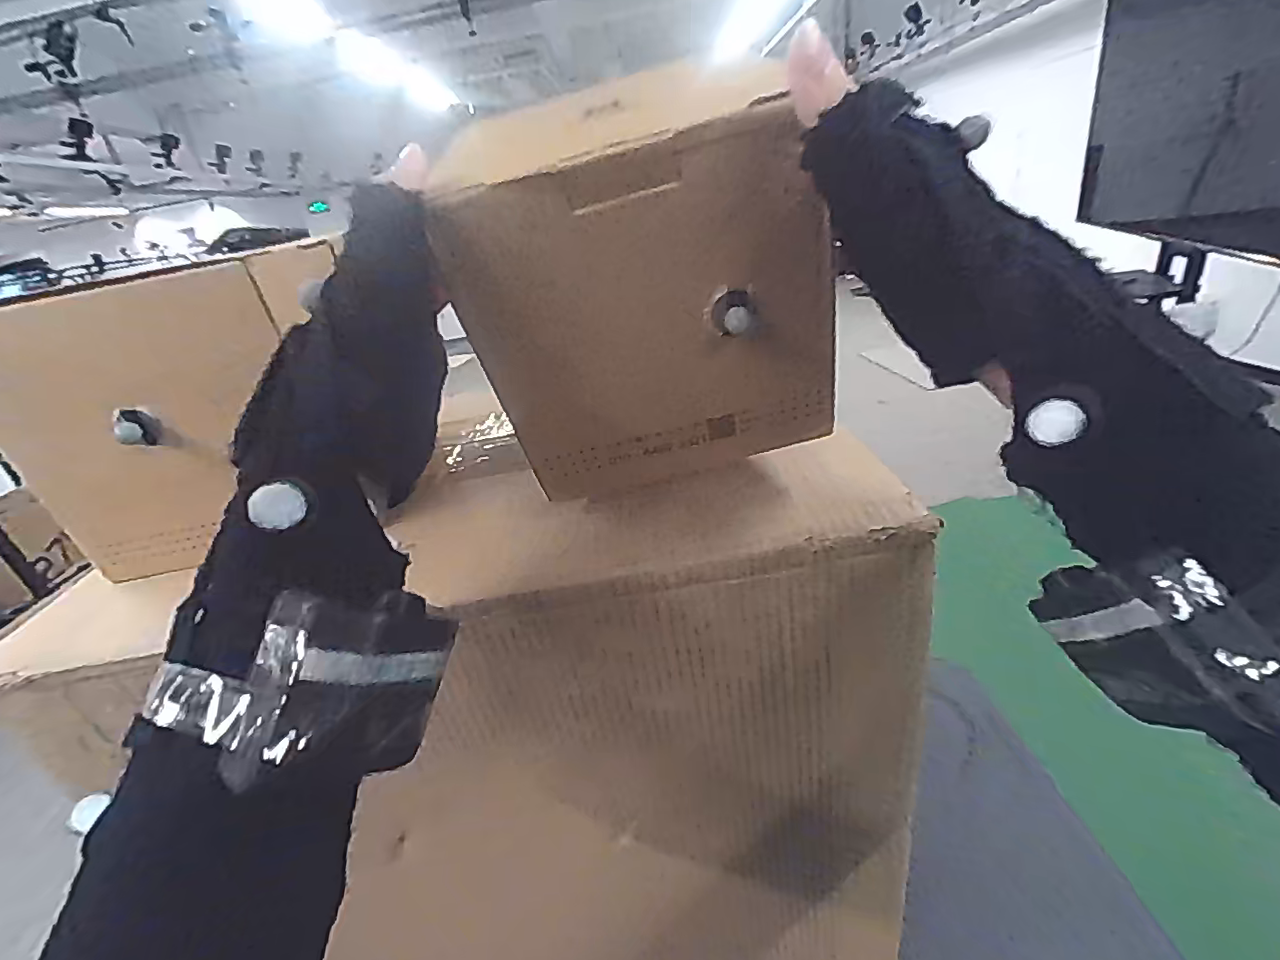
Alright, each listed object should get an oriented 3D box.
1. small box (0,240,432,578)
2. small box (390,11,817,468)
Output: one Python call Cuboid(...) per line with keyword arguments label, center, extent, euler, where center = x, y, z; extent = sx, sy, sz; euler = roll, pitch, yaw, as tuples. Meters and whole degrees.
Cuboid(label="small box", center=(-0.273, -0.056, 0.384), extent=(0.179, 0.176, 0.168), euler=(-12, 29, 1))
Cuboid(label="small box", center=(-0.009, -0.126, 0.307), extent=(0.168, 0.176, 0.179), euler=(-17, 44, 2))
